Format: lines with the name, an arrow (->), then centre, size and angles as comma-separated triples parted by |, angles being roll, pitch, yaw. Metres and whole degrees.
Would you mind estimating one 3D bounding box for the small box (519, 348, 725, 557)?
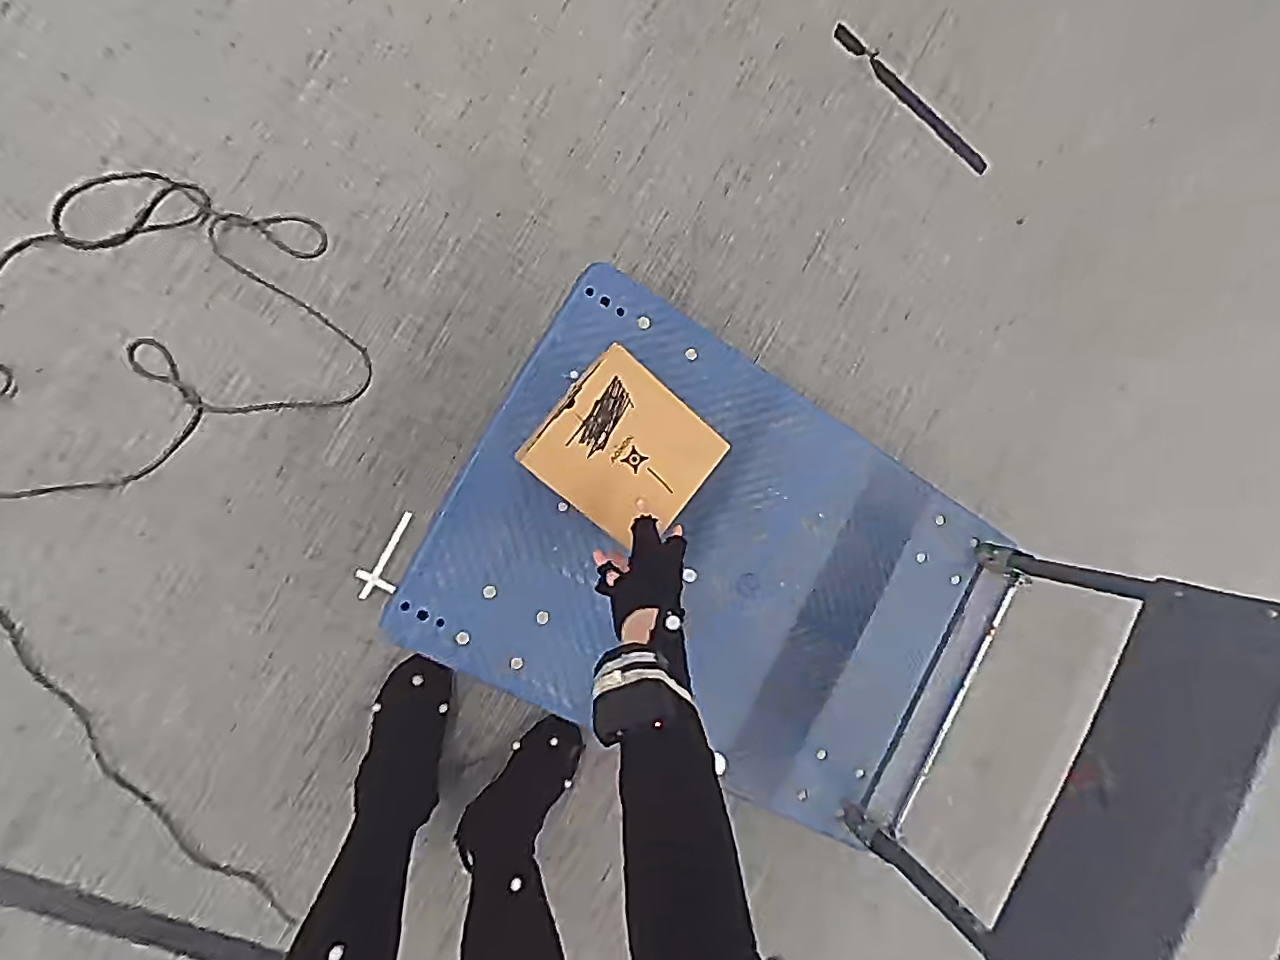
small box -> -0.034, -0.031, 0.668 | 0.179, 0.176, 0.168 | 41, 83, -14
